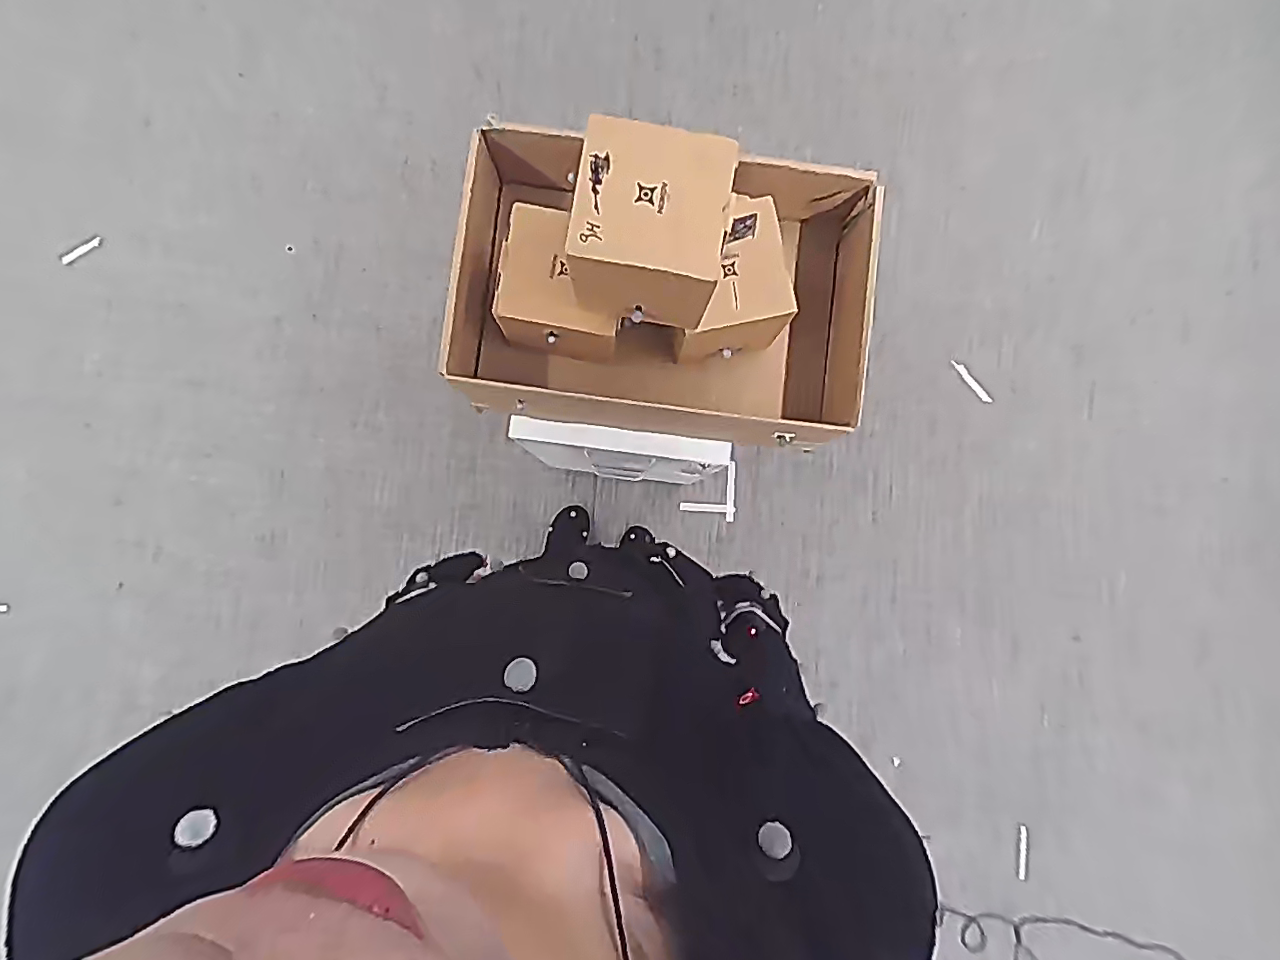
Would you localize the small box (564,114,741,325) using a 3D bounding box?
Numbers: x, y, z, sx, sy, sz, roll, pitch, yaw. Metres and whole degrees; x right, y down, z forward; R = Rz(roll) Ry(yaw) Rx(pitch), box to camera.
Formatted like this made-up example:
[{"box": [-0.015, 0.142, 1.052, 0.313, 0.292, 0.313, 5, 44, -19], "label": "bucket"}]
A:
[{"box": [0.011, -0.309, 0.680, 0.179, 0.176, 0.168, 10, 86, -2], "label": "small box"}]
